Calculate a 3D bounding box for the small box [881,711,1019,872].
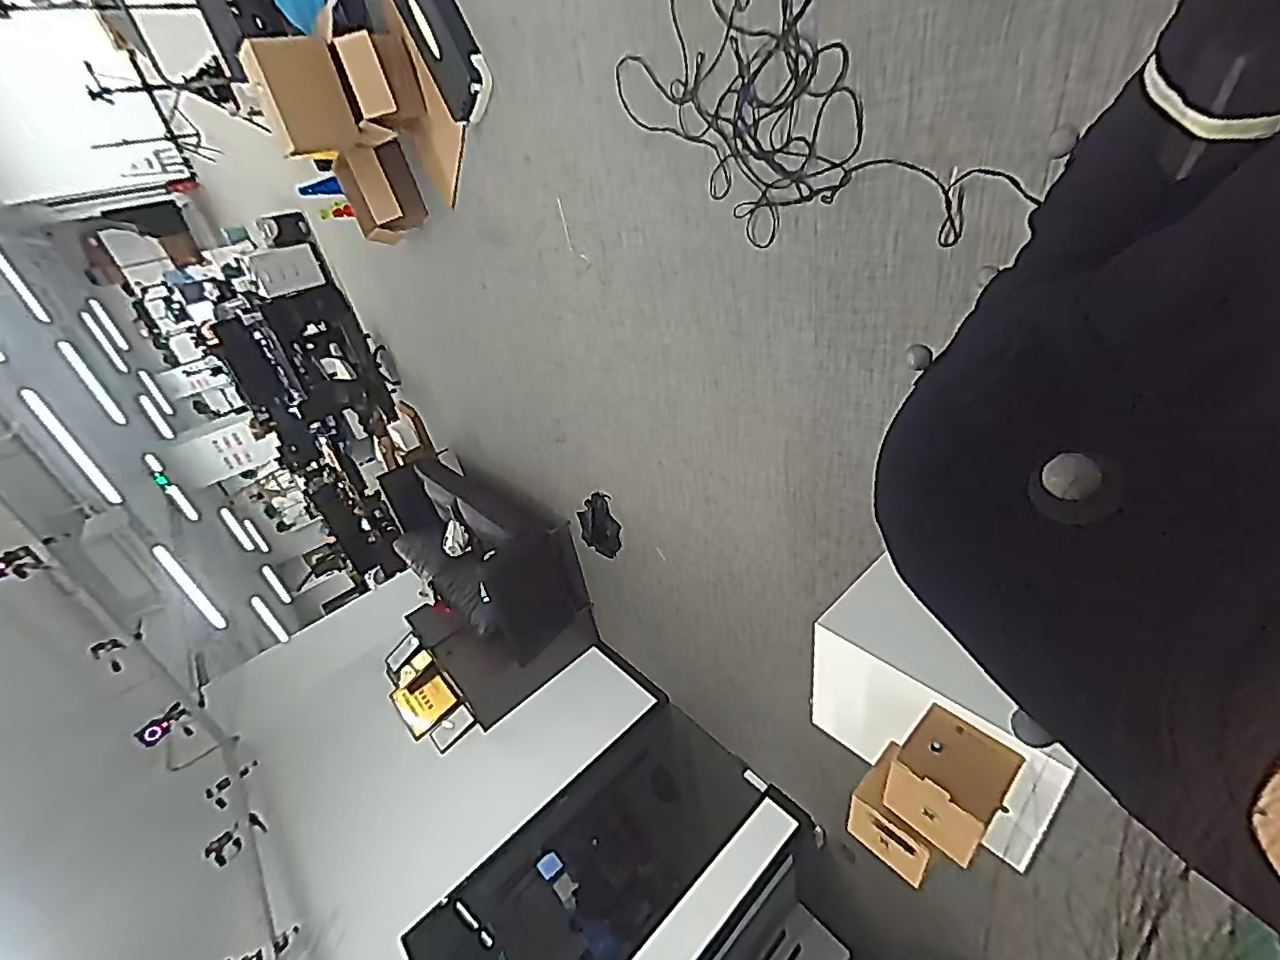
[{"bbox_3d":[0.592,0.586,1.036,0.168,0.176,0.179,29,141,43],"label":"small box"}]
